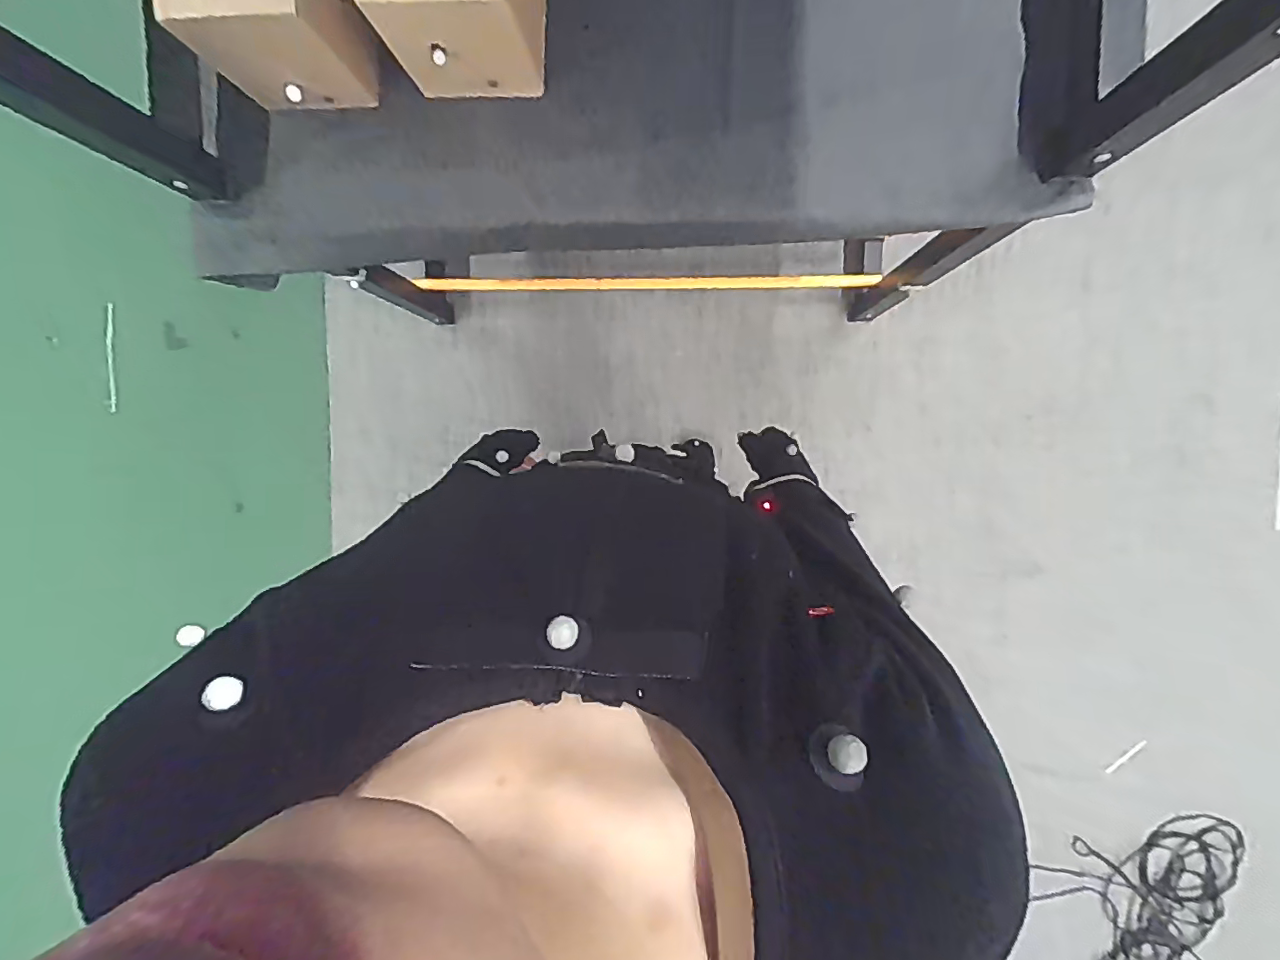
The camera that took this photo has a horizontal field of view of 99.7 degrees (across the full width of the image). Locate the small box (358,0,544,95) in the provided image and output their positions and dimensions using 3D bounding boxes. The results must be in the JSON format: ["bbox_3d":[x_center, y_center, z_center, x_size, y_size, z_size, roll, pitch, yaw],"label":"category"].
[{"bbox_3d":[-0.216,-0.601,0.651,0.168,0.176,0.179,2,94,3],"label":"small box"}]

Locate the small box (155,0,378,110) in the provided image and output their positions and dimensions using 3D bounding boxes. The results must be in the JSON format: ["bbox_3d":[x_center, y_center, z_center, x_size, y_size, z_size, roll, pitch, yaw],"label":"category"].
[{"bbox_3d":[-0.443,-0.596,0.663,0.168,0.176,0.179,1,94,3],"label":"small box"}]
